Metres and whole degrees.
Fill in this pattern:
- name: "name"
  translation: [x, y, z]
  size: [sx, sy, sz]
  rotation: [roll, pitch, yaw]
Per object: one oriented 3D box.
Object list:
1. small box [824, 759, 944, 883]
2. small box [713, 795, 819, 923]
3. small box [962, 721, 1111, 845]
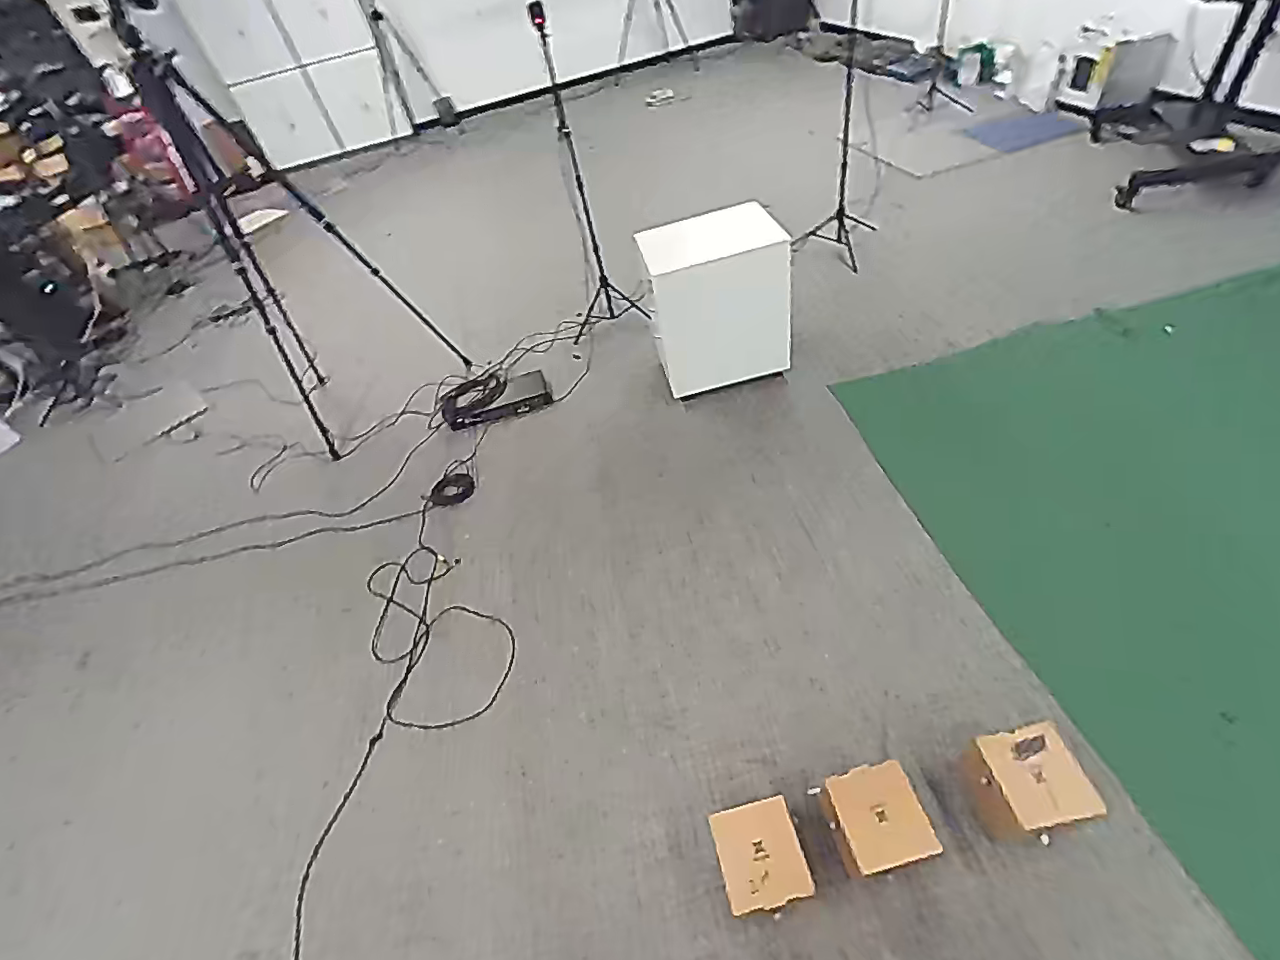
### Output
- name: "small box"
  translation: [0.506, 0.729, 1.148]
  size: [0.168, 0.176, 0.179]
  rotation: [-16, 45, -1]
- name: "small box"
  translation: [0.261, 0.800, 1.140]
  size: [0.168, 0.176, 0.179]
  rotation: [-16, 46, 0]
- name: "small box"
  translation: [0.821, 0.644, 1.146]
  size: [0.168, 0.176, 0.179]
  rotation: [-14, 46, 2]
